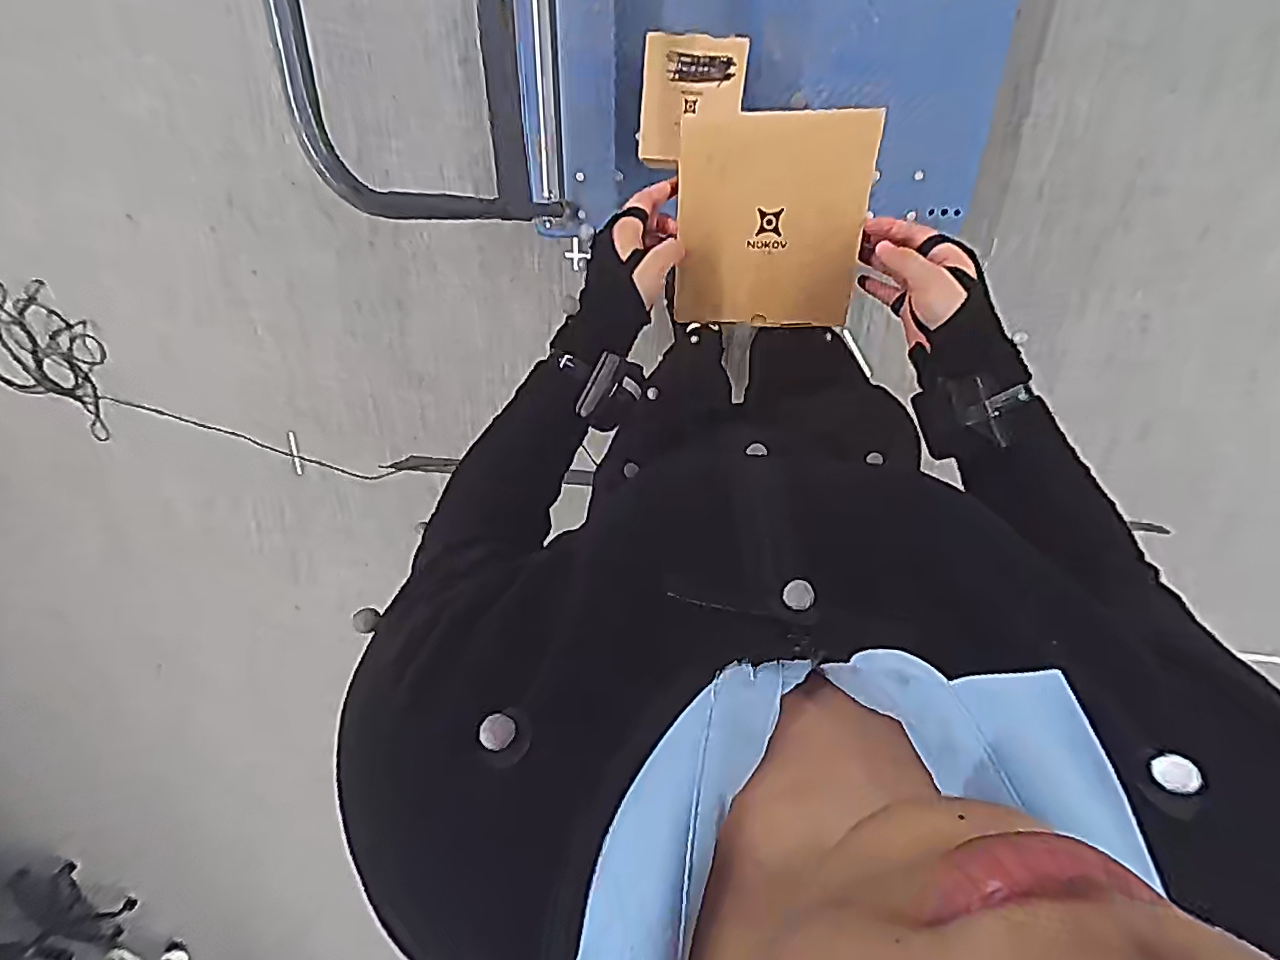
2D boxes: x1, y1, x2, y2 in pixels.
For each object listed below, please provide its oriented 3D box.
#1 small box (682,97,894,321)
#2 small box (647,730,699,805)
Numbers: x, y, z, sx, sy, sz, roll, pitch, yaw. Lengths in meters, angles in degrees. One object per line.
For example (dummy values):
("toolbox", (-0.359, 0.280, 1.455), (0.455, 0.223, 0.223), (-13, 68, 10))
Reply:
("small box", (0.130, -0.272, 0.542), (0.168, 0.176, 0.179), (3, 124, 7))
("small box", (0.122, 1.022, 1.926), (0.168, 0.176, 0.179), (-7, 114, 8))
